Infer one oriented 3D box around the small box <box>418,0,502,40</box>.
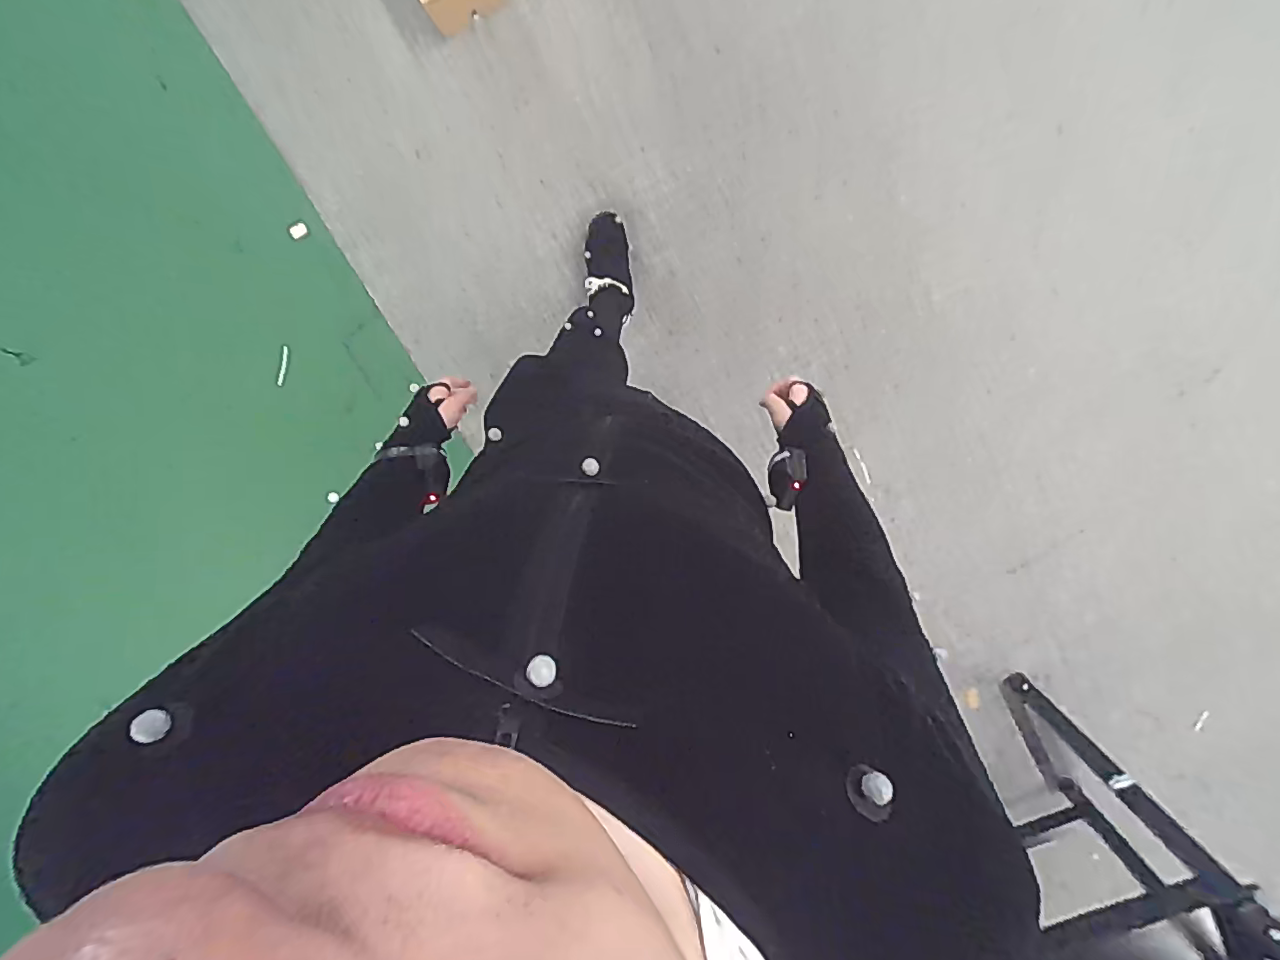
[{"bbox_3d":[-0.423,-1.138,1.197,0.179,0.176,0.168,-24,105,8],"label":"small box"}]
